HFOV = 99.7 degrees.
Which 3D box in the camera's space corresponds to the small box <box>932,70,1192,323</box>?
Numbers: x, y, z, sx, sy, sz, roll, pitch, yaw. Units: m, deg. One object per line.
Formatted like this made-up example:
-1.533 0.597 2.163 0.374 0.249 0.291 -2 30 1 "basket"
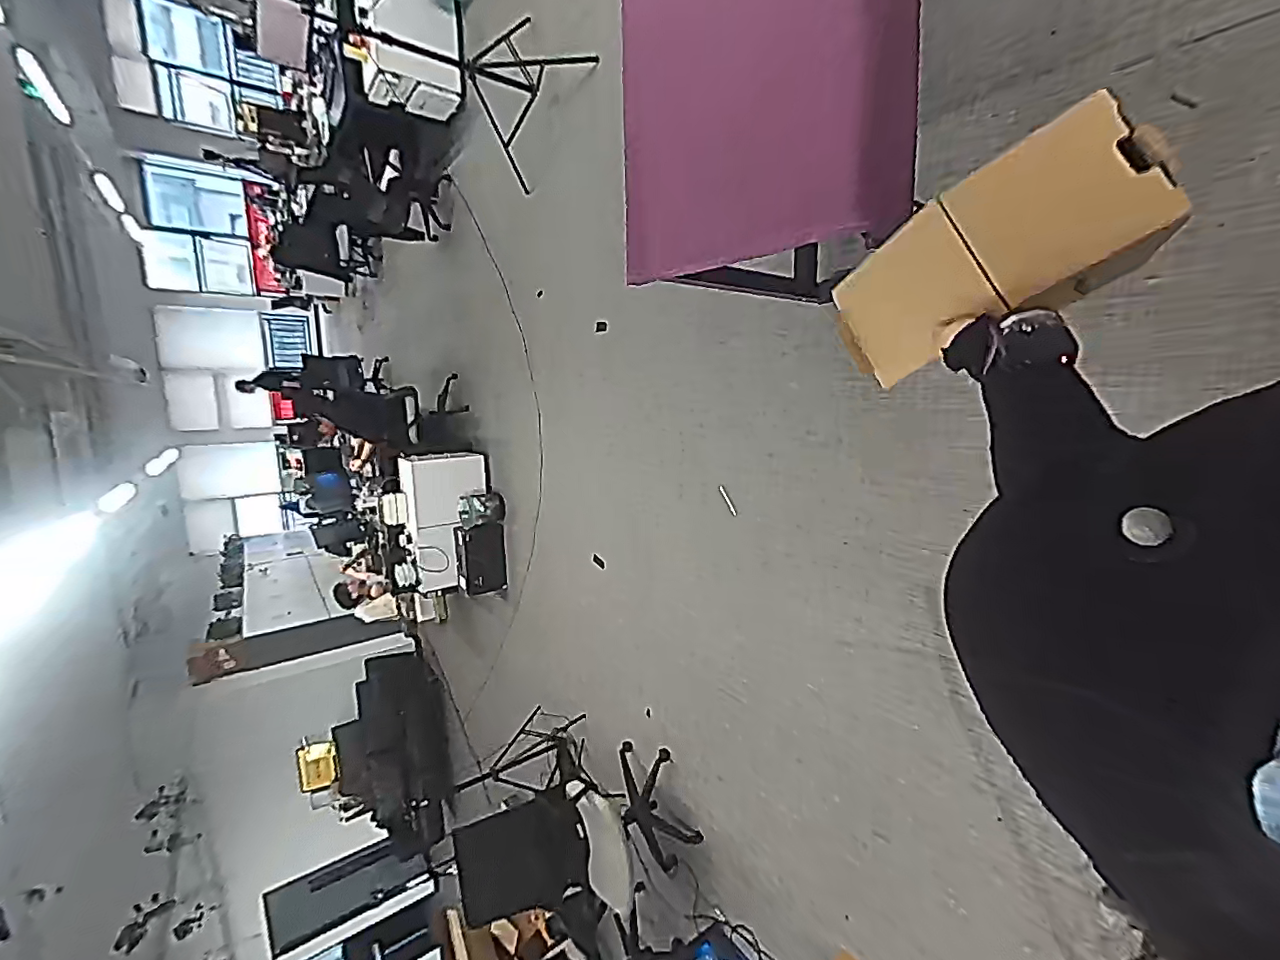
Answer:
0.478 -0.312 0.644 0.179 0.176 0.168 -29 79 27 "small box"
